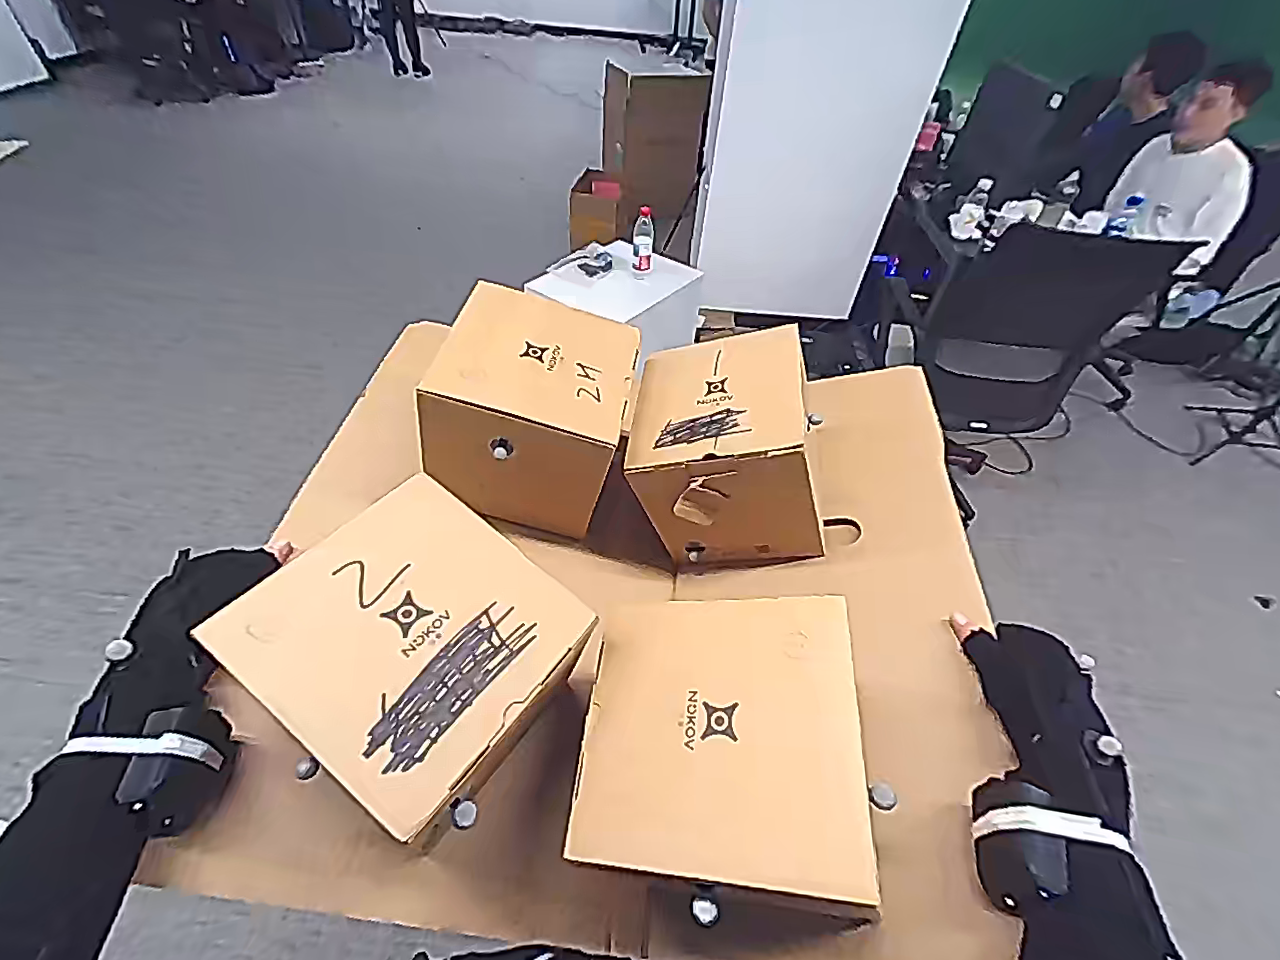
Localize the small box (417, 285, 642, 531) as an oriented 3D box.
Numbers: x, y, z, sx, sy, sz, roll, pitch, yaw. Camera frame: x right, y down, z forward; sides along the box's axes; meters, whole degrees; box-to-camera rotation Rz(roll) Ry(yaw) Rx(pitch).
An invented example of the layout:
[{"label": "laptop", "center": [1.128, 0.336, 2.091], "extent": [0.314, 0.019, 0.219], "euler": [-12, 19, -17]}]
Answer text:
[{"label": "small box", "center": [-0.113, -0.068, 0.571], "extent": [0.179, 0.176, 0.168], "euler": [16, 52, -7]}]
